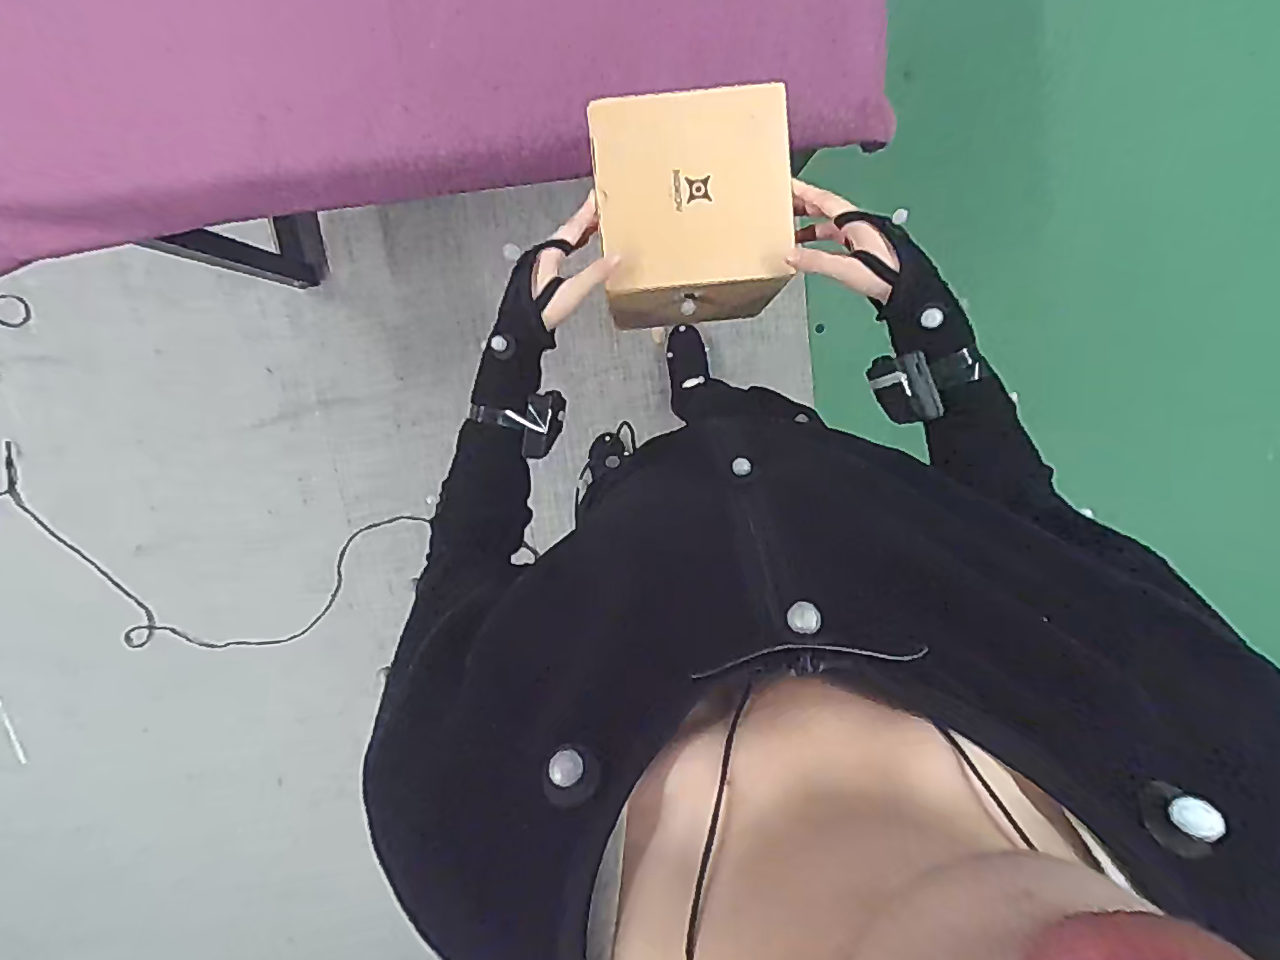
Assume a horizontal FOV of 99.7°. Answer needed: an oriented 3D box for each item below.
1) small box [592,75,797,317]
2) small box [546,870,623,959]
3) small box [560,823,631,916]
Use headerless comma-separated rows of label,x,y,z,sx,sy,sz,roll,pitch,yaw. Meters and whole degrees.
small box,0.050,-0.272,0.557,0.179,0.176,0.168,-4,95,2
small box,-0.140,1.166,1.423,0.168,0.176,0.179,-9,99,3
small box,-0.127,1.146,1.586,0.179,0.176,0.168,-13,99,4
